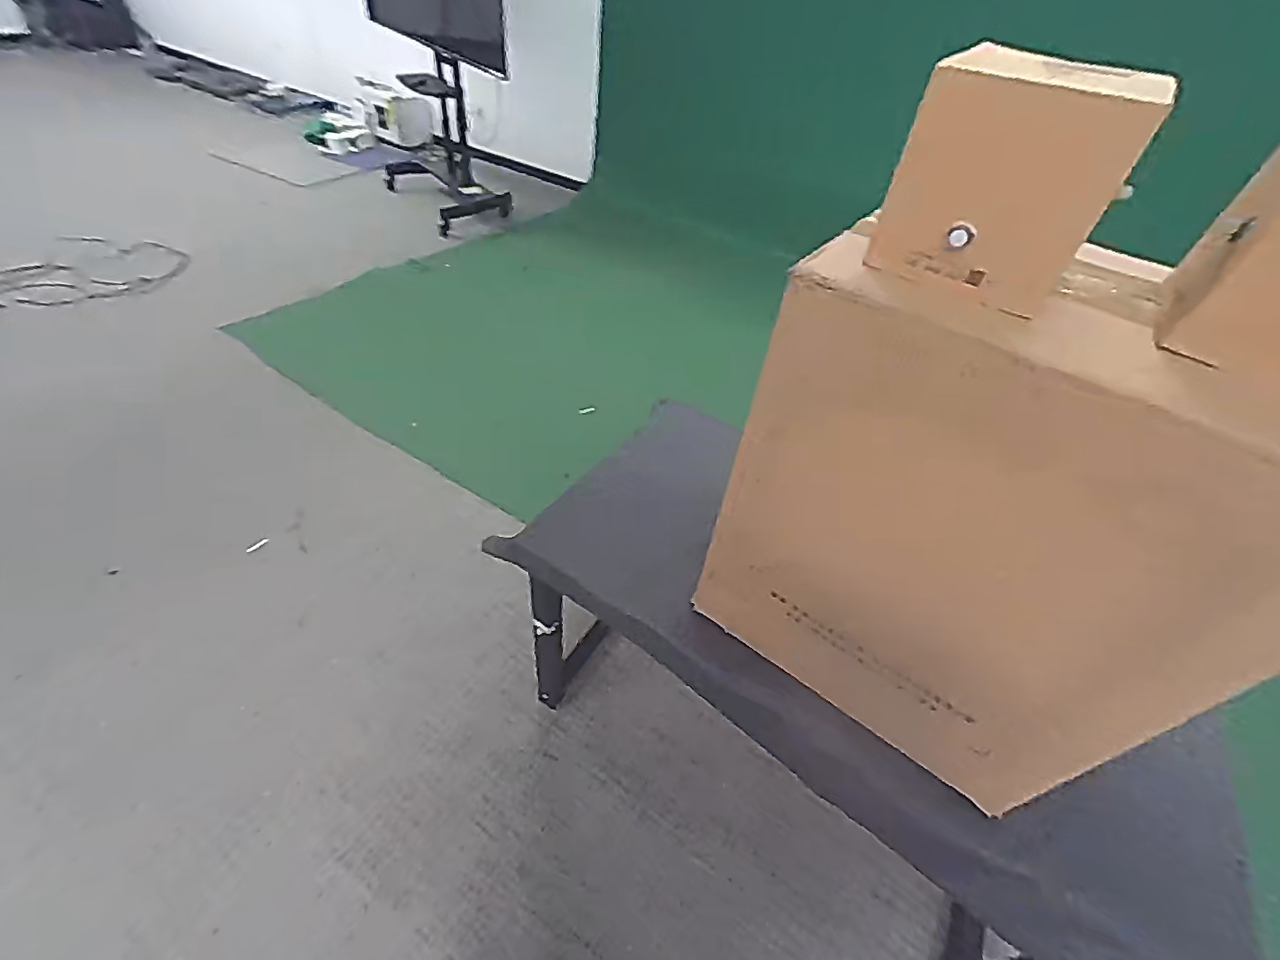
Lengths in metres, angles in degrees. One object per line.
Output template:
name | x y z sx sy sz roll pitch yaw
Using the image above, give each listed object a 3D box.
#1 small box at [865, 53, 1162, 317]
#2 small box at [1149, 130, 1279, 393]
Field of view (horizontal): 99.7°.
small box | 0.344 -0.286 0.521 0.168 0.176 0.179 30 51 22
small box | 0.573 -0.176 0.441 0.179 0.176 0.168 32 52 19
